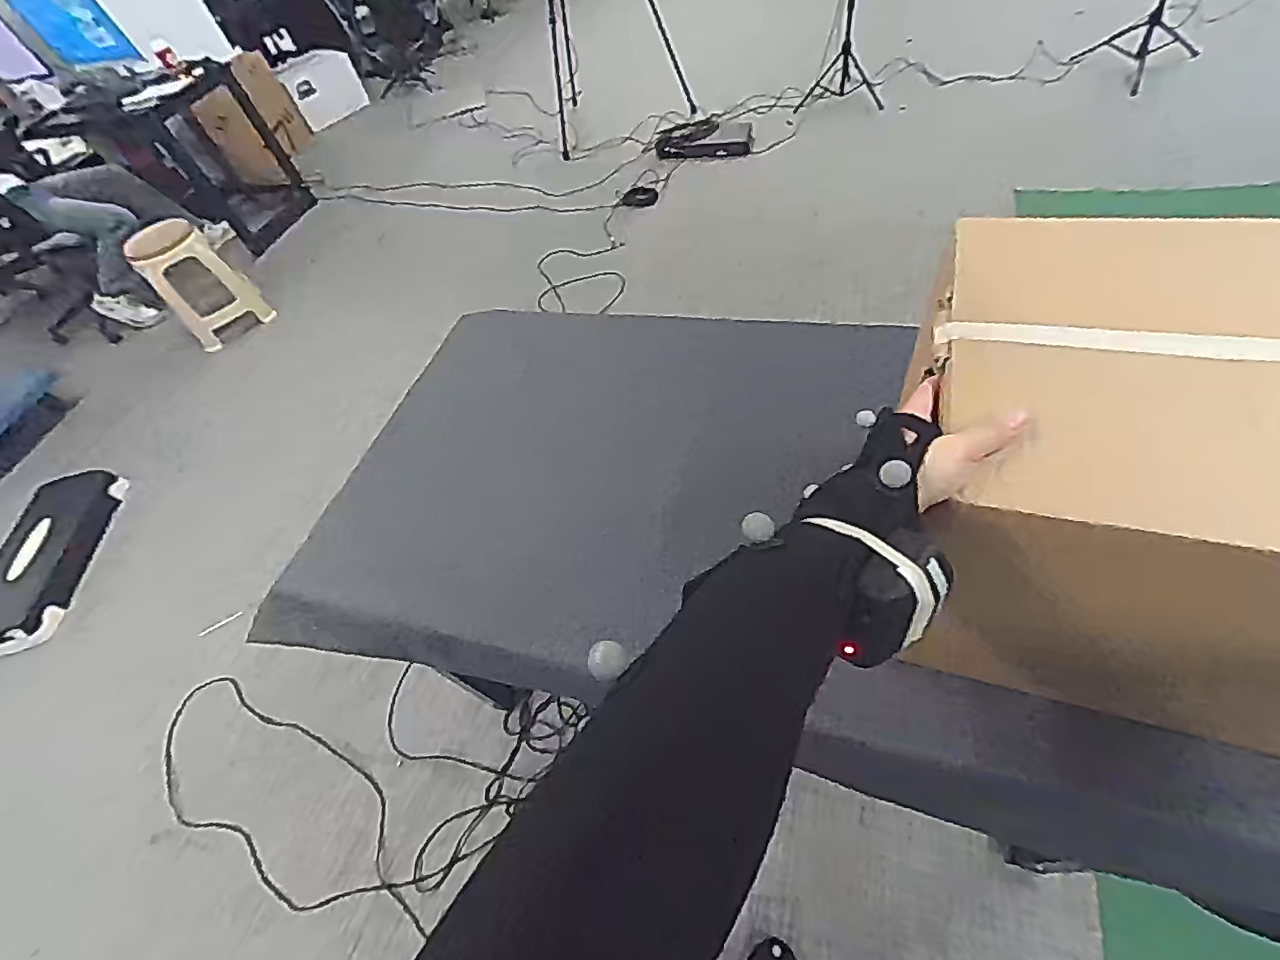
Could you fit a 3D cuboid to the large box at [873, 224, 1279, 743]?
[{"bbox_3d":[0.453,0.005,0.476,0.408,0.320,0.320,10,59,18],"label":"large box"}]
